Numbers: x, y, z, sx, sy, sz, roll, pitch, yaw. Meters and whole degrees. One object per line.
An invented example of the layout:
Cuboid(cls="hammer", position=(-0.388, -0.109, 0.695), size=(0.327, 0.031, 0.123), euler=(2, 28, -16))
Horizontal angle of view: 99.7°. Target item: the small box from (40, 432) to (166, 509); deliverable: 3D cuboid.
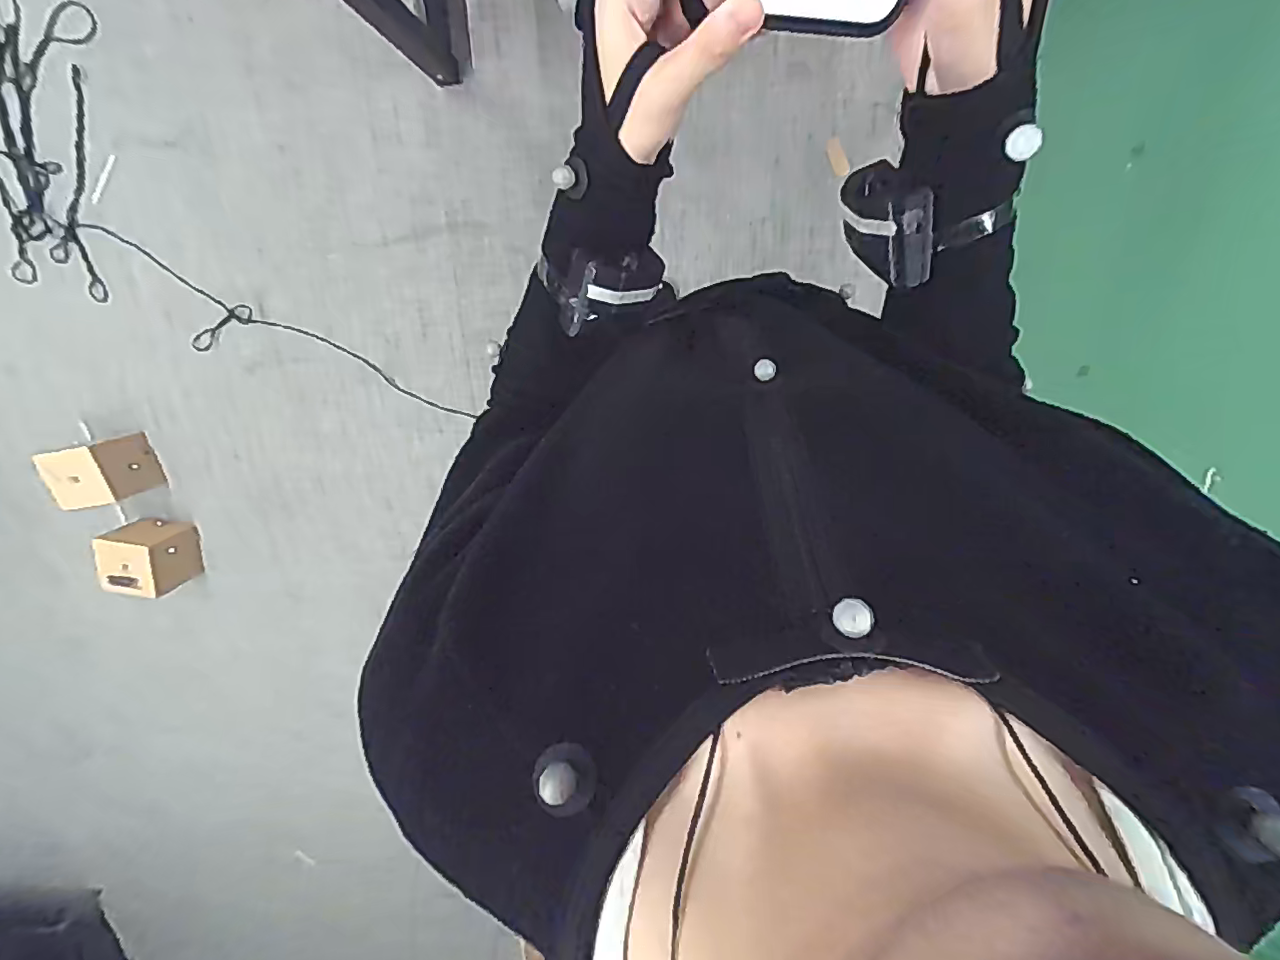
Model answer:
Cuboid(cls="small box", position=(-1.524, -0.033, 1.554), size=(0.179, 0.176, 0.168), euler=(-8, 108, 7))
